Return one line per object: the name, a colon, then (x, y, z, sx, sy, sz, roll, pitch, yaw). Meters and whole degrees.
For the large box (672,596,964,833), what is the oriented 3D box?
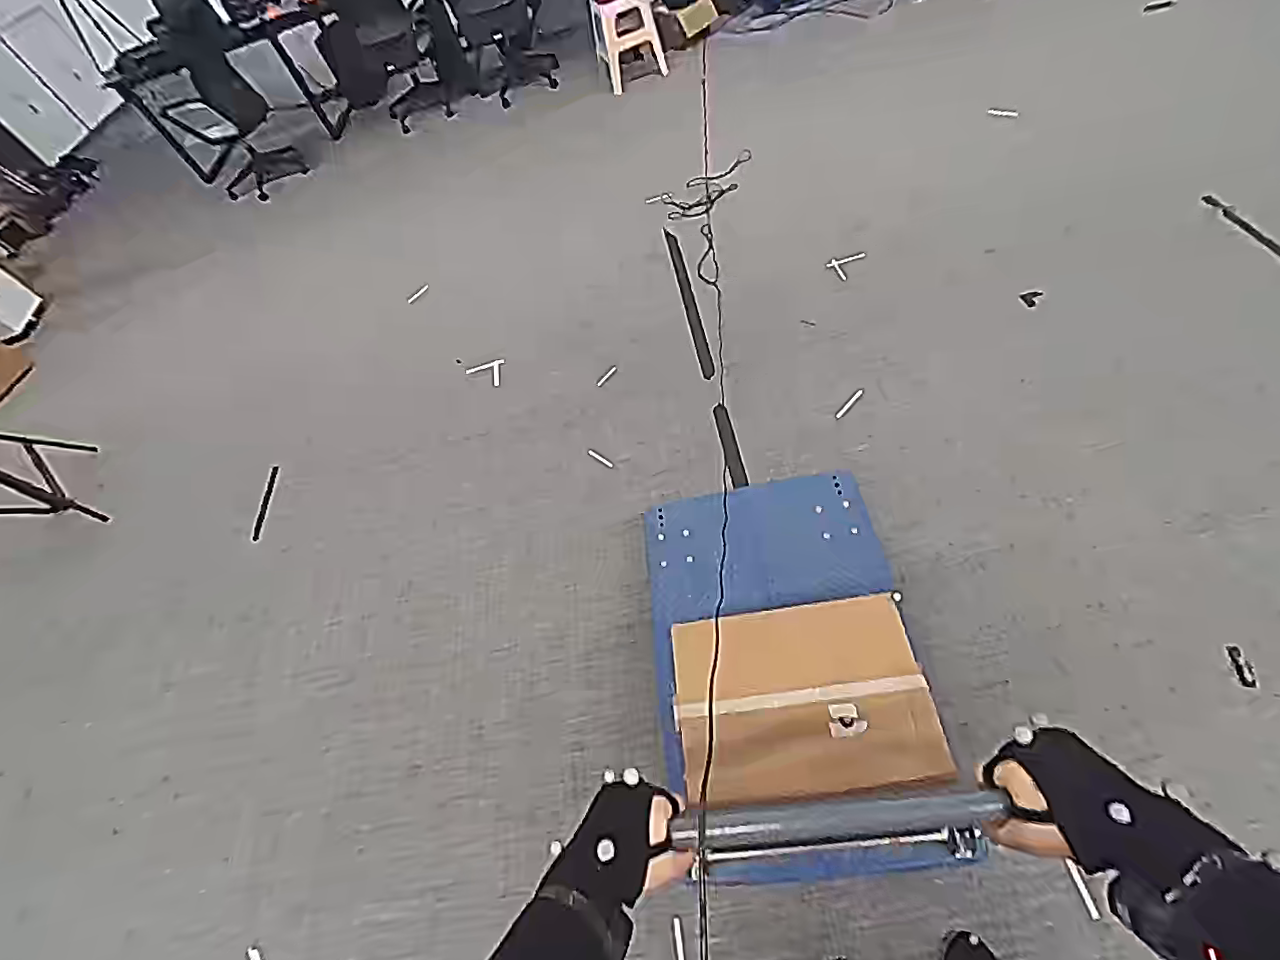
large box: (0.294, 0.447, 1.004, 0.408, 0.320, 0.320, -10, 54, 8)
